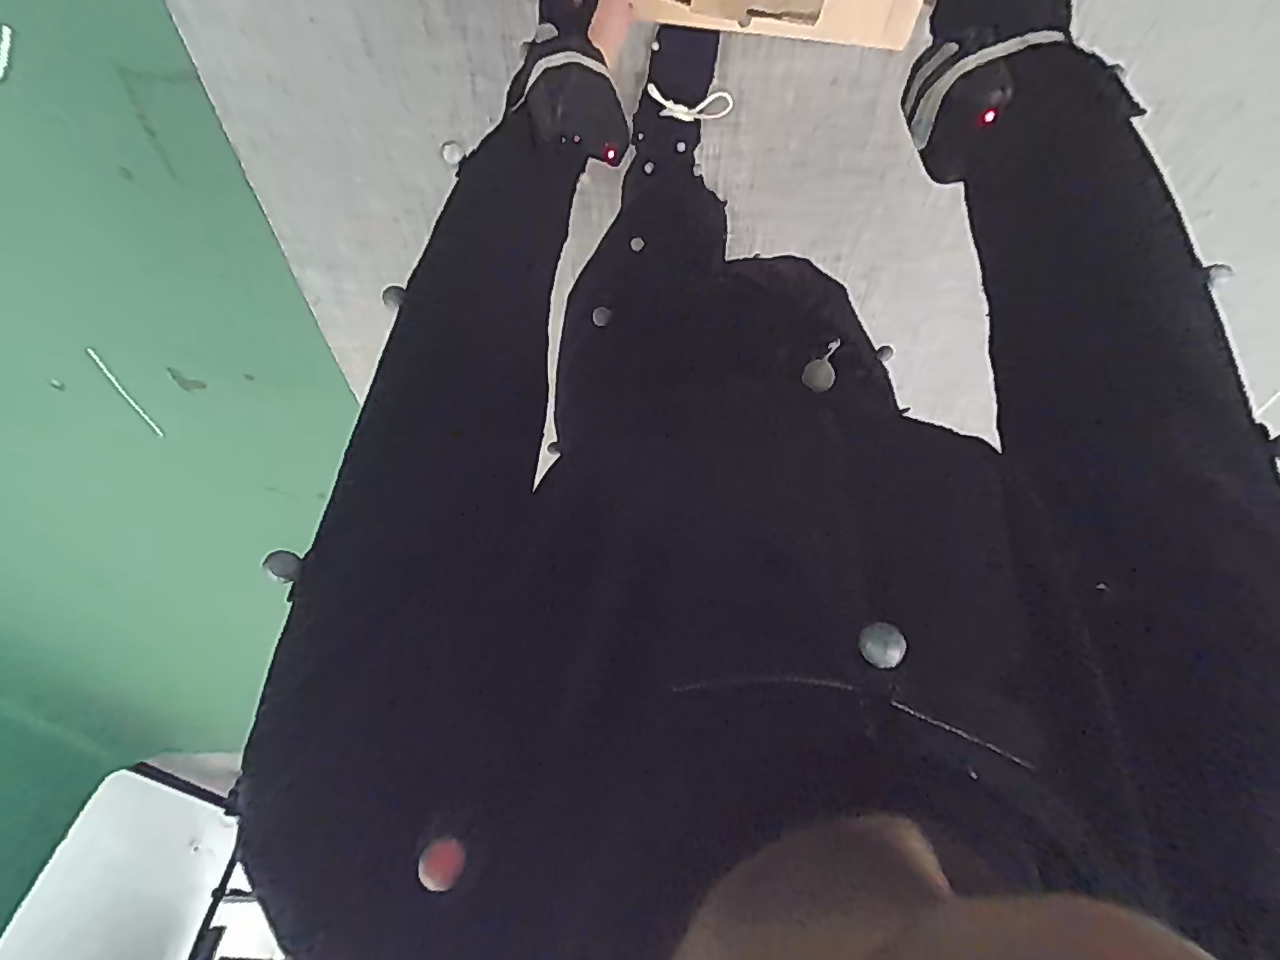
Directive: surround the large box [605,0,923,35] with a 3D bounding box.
[{"bbox_3d":[0.160,-0.794,0.678,0.408,0.320,0.320,3,138,-3],"label":"large box"}]
